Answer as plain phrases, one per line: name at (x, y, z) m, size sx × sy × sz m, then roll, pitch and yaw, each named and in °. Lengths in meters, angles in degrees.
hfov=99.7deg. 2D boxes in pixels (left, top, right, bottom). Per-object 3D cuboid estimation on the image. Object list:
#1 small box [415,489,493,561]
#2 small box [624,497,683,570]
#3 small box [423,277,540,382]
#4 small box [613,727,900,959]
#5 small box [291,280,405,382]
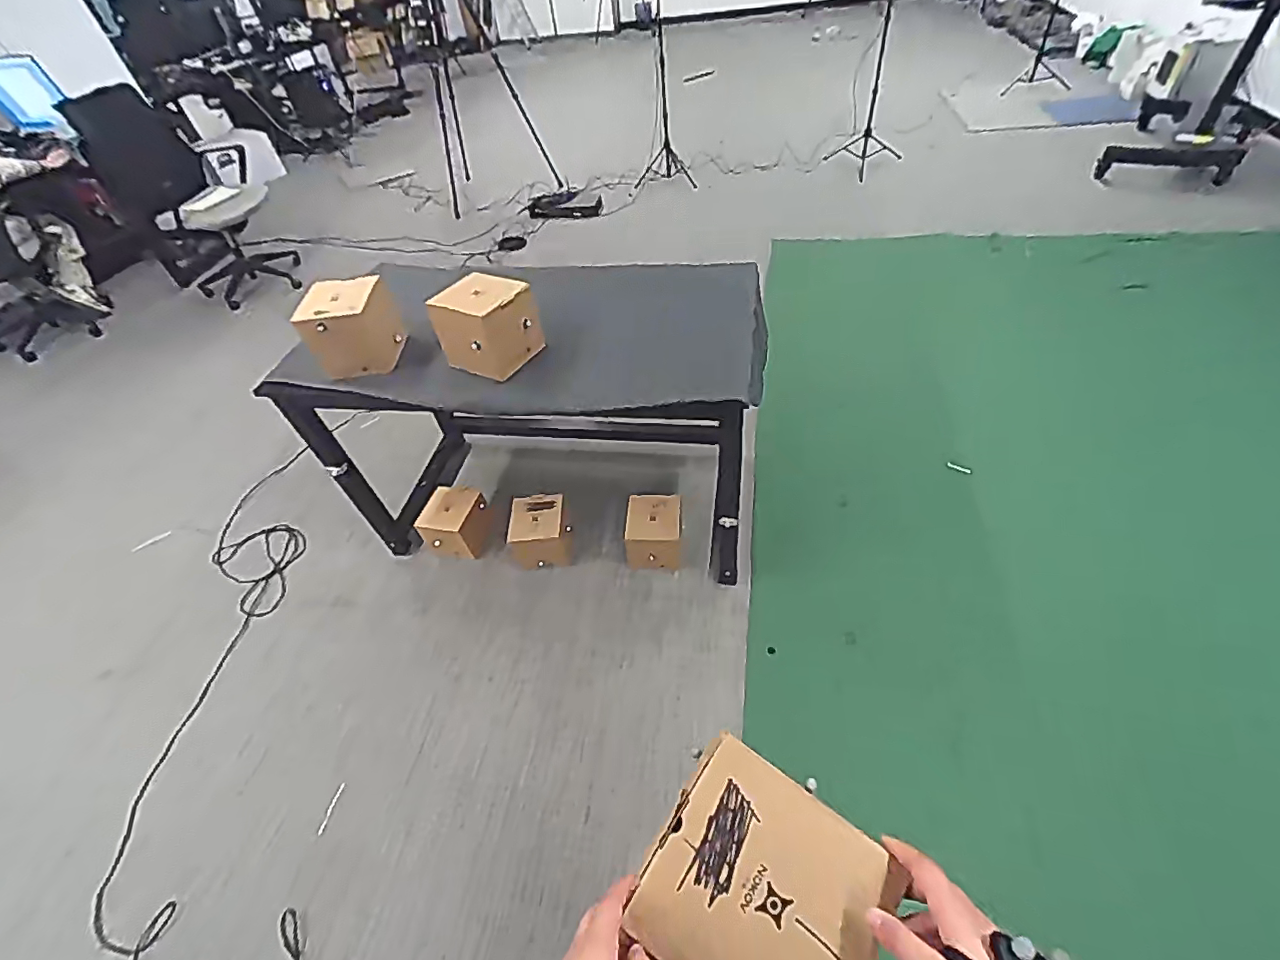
small box at (-0.621, 0.156, 1.835) m, size 0.168 × 0.176 × 0.179 m, roll 6°, pitch 49°, yaw 14°
small box at (0.048, 0.172, 1.713) m, size 0.168 × 0.176 × 0.179 m, roll 0°, pitch 48°, yaw 7°
small box at (-0.359, -0.350, 1.262) m, size 0.179 × 0.176 × 0.168 m, roll 18°, pitch 50°, yaw 25°
small box at (0.098, 0.358, 0.503) m, size 0.179 × 0.176 × 0.168 m, roll 31°, pitch 71°, yaw 17°
small box at (-0.701, -0.363, 1.324) m, size 0.168 × 0.176 × 0.179 m, roll -7°, pitch 47°, yaw 3°
